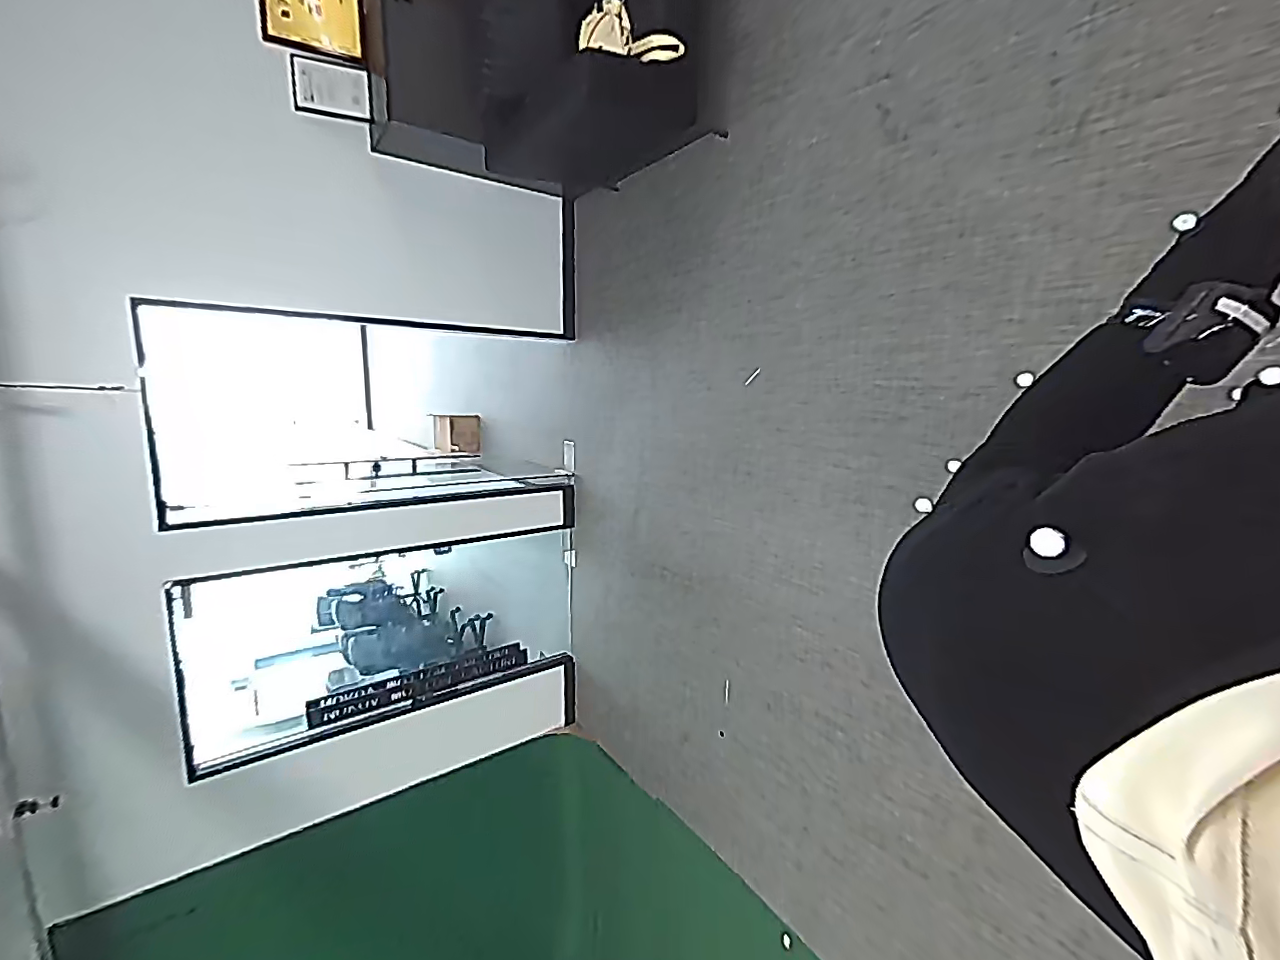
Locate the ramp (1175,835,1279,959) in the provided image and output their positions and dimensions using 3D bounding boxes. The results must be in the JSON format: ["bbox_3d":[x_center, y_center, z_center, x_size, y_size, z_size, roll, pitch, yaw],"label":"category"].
[{"bbox_3d":[1.344,1.314,1.056,0.509,0.206,0.991,10,103,55],"label":"ramp"}]
